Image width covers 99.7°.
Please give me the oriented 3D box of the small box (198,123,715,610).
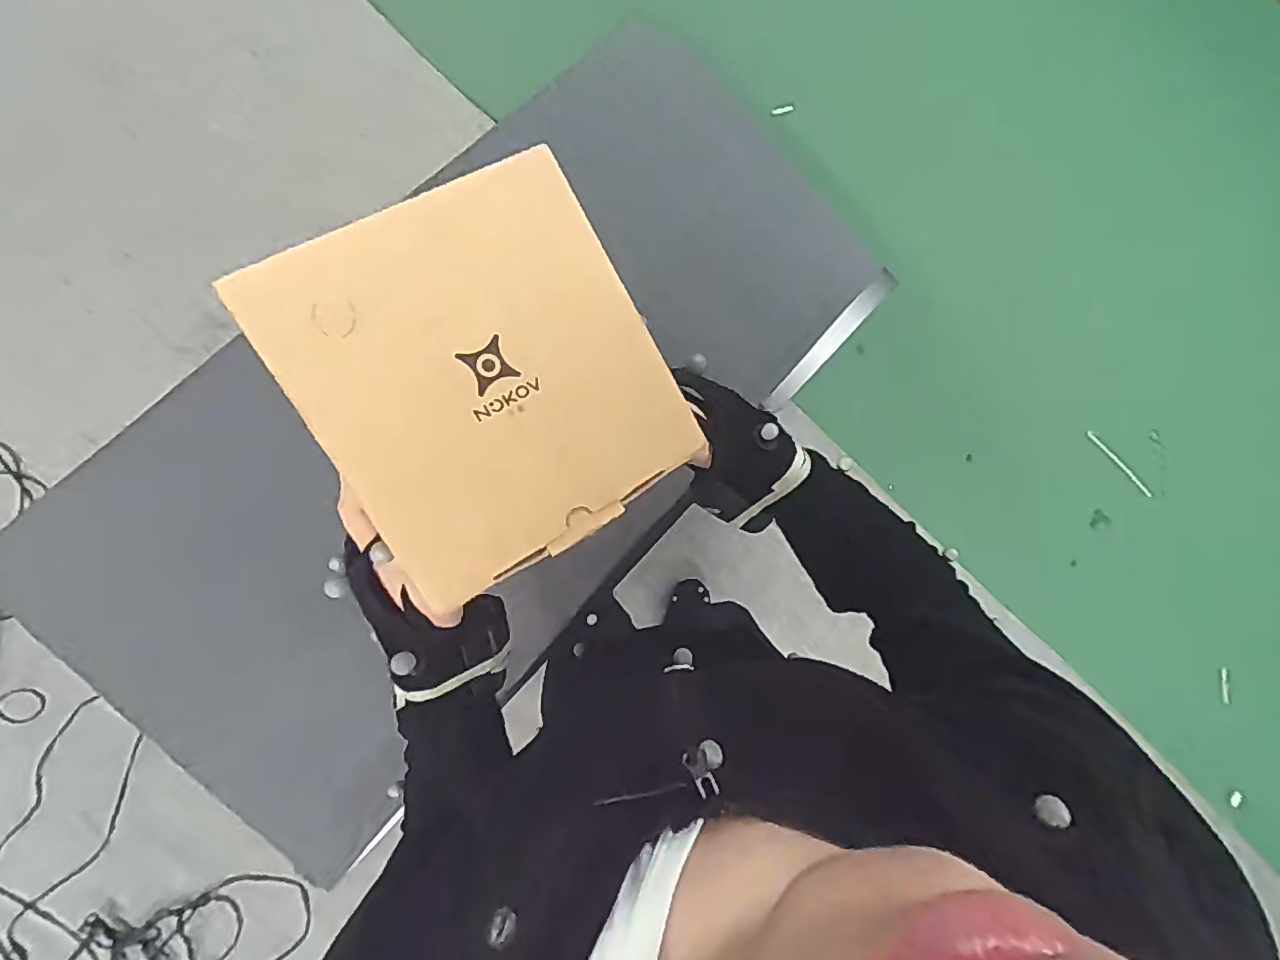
[{"bbox_3d":[-0.093,-0.054,0.320,0.168,0.176,0.179,-32,99,-15],"label":"small box"}]
